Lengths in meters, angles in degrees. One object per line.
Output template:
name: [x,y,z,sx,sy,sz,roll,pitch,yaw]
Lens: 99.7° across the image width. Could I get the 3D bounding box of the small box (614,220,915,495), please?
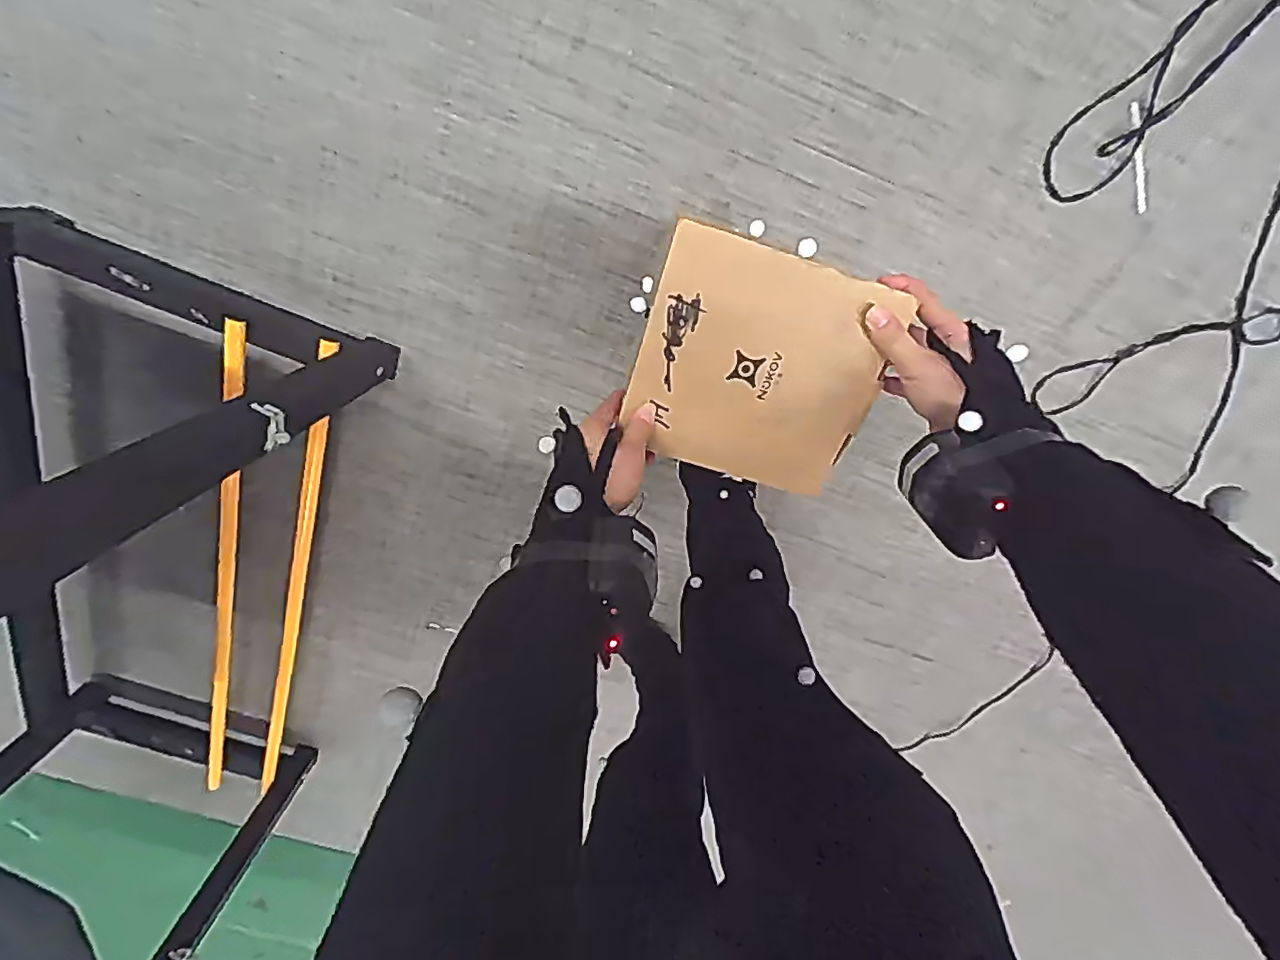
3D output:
small box: [0.087,-0.114,0.468,0.179,0.176,0.168,17,115,-7]
